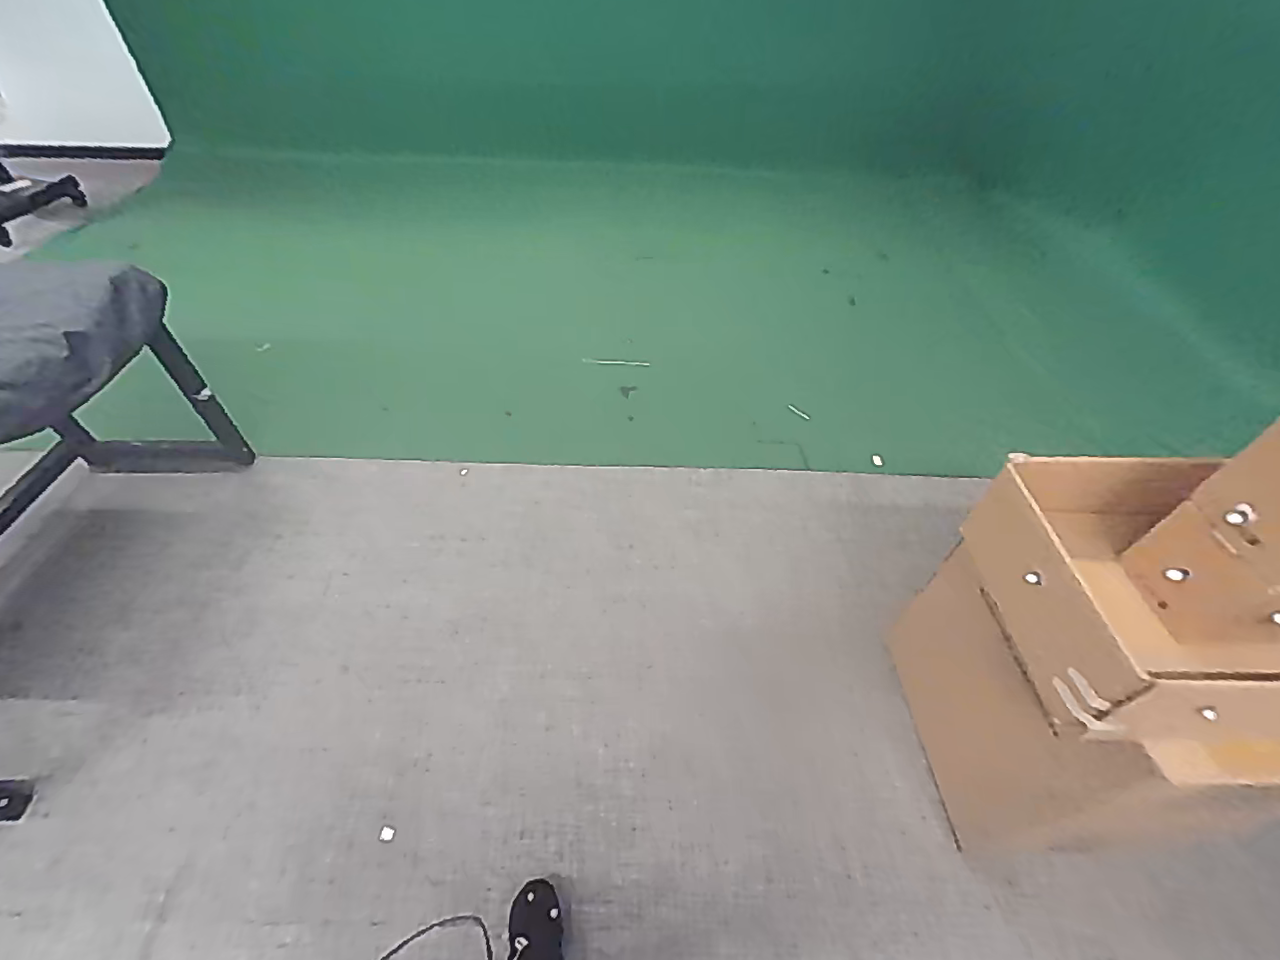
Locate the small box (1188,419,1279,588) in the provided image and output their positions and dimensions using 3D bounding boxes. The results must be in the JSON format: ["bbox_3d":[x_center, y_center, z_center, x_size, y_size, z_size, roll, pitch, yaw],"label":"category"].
[{"bbox_3d":[0.930,0.033,0.730,0.179,0.176,0.168,-2,47,-3],"label":"small box"}]
